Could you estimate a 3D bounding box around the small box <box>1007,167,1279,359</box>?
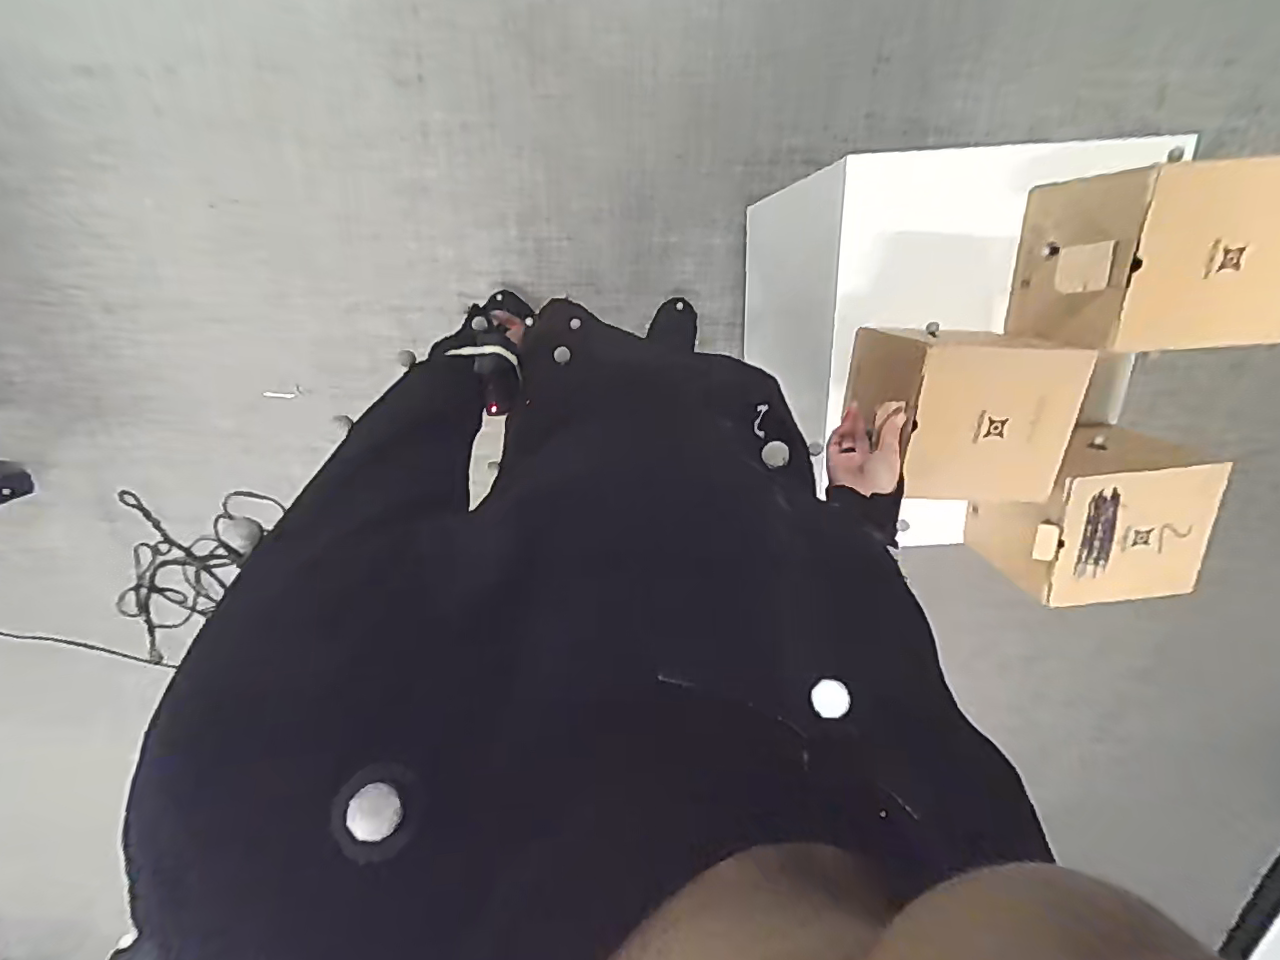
[{"bbox_3d":[0.543,-0.229,0.576,0.179,0.176,0.168,-3,112,2],"label":"small box"}]
